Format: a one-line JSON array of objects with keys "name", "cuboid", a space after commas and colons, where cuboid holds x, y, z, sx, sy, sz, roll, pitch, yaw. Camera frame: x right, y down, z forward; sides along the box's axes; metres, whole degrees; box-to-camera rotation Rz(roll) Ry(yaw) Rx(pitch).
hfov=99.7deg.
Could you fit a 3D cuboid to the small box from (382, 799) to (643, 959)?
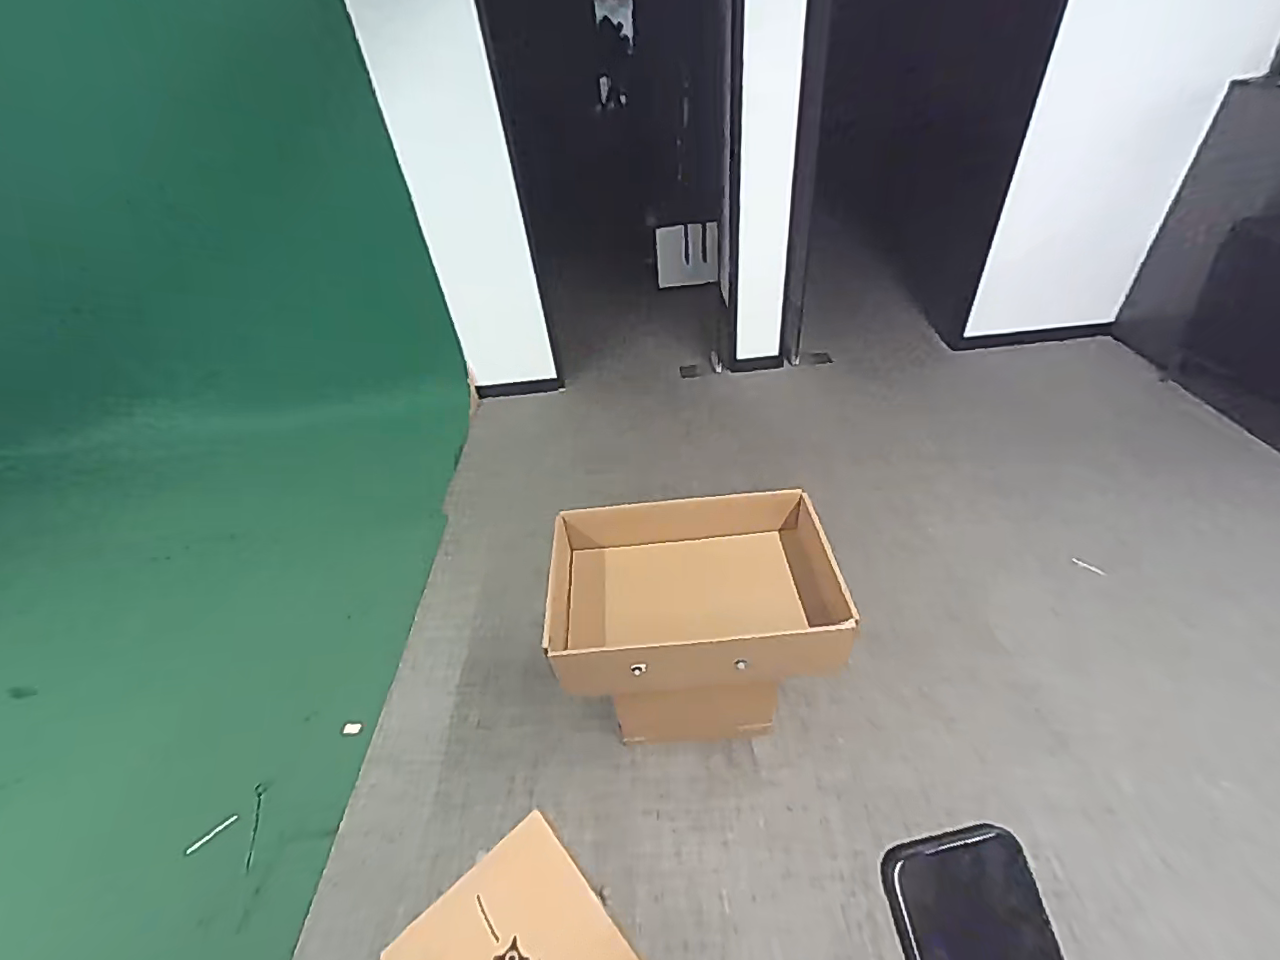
[{"name": "small box", "cuboid": [-0.114, 0.452, 0.535, 0.168, 0.176, 0.179, -35, 65, -25]}]
